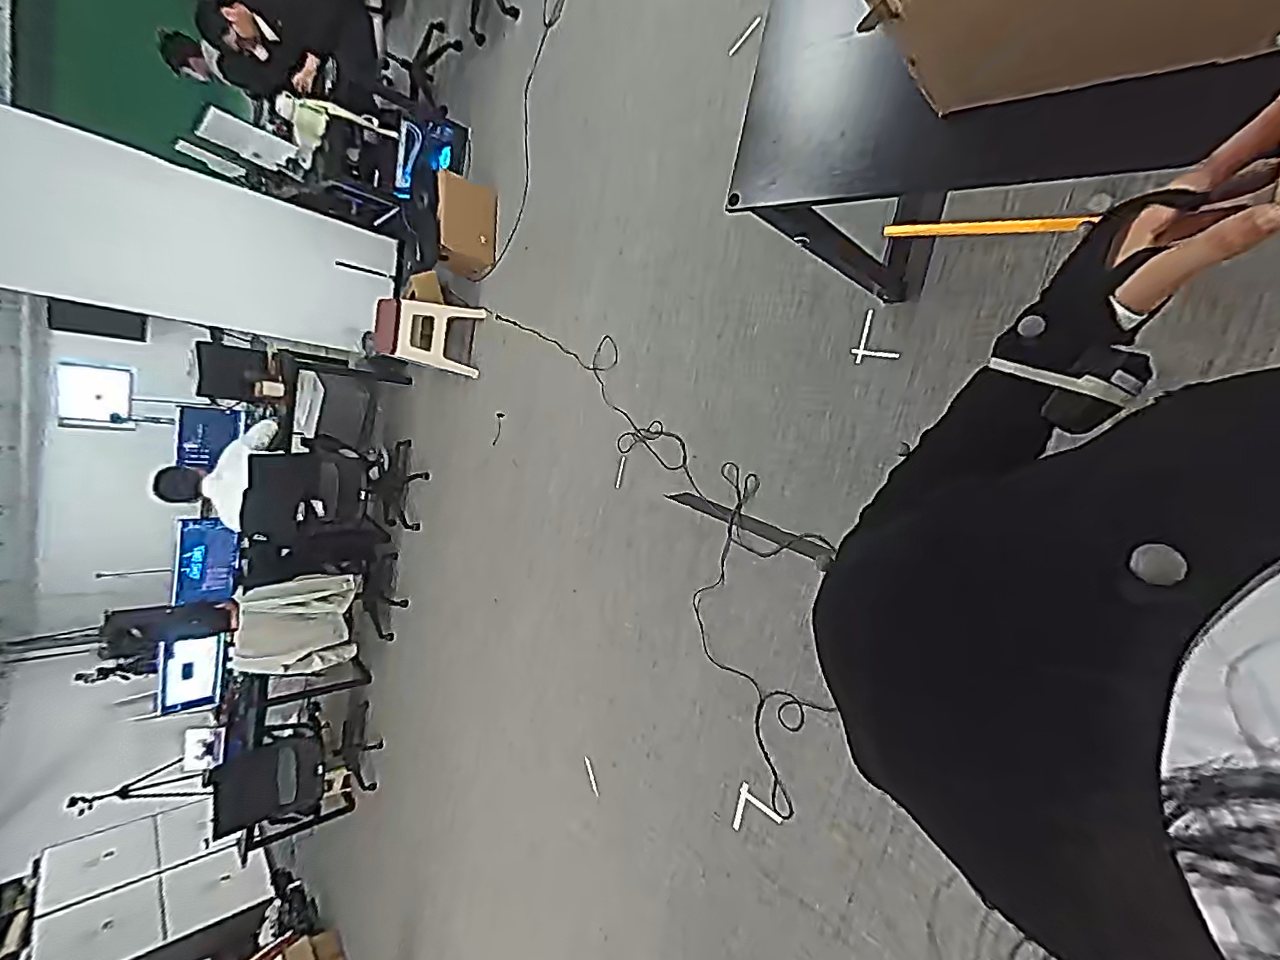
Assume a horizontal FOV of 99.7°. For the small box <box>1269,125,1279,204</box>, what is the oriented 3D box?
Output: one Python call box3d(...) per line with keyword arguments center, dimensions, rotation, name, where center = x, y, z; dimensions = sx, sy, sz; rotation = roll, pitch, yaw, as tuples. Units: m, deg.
box3d(center=(0.444, -0.239, 0.259), dimensions=(0.168, 0.176, 0.179), rotation=(14, 114, 46), name="small box")
